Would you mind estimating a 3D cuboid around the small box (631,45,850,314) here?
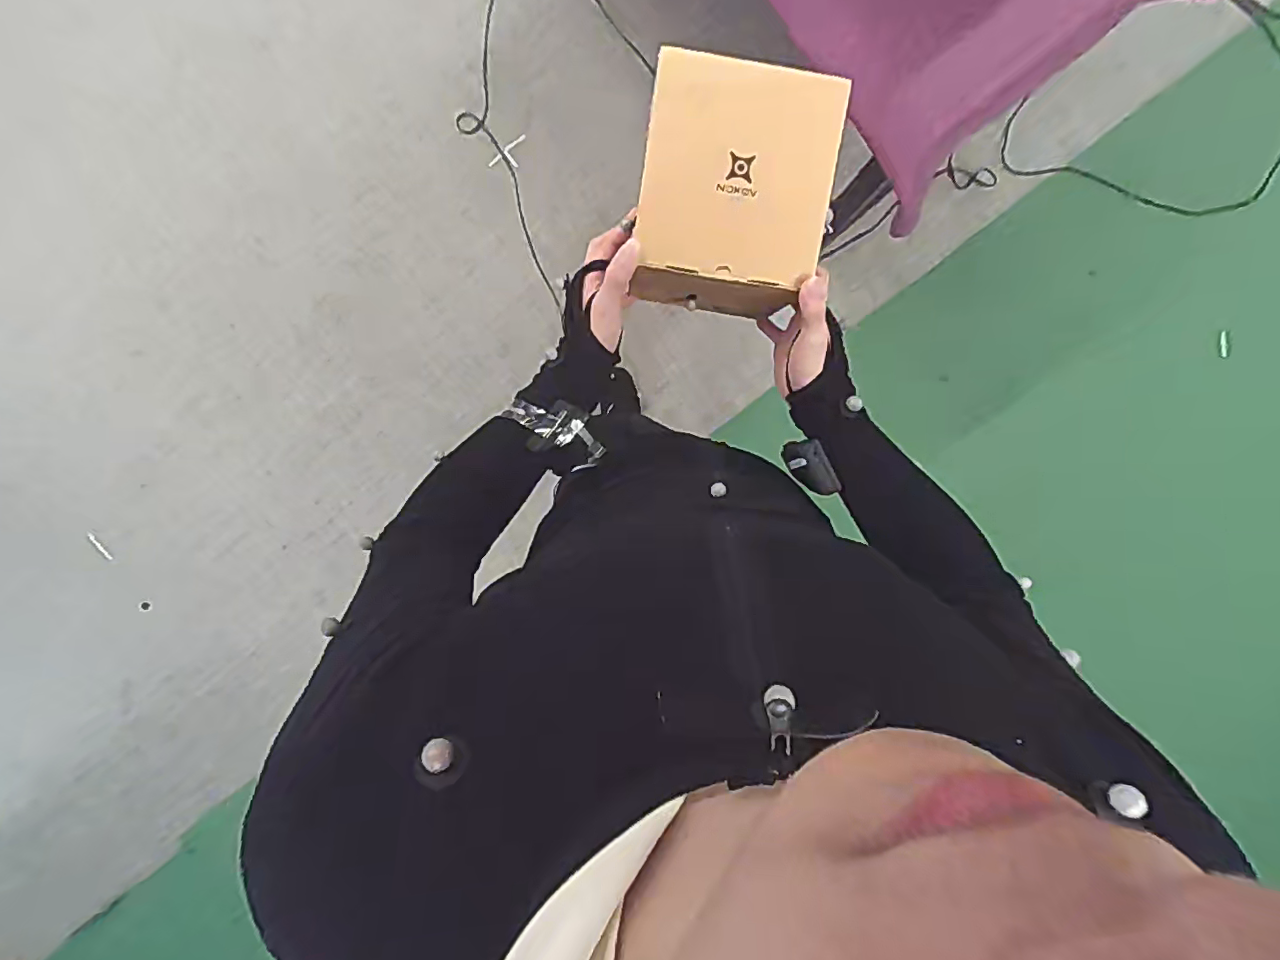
[{"bbox_3d":[0.082,-0.276,0.541,0.168,0.176,0.179,7,100,-3],"label":"small box"}]
